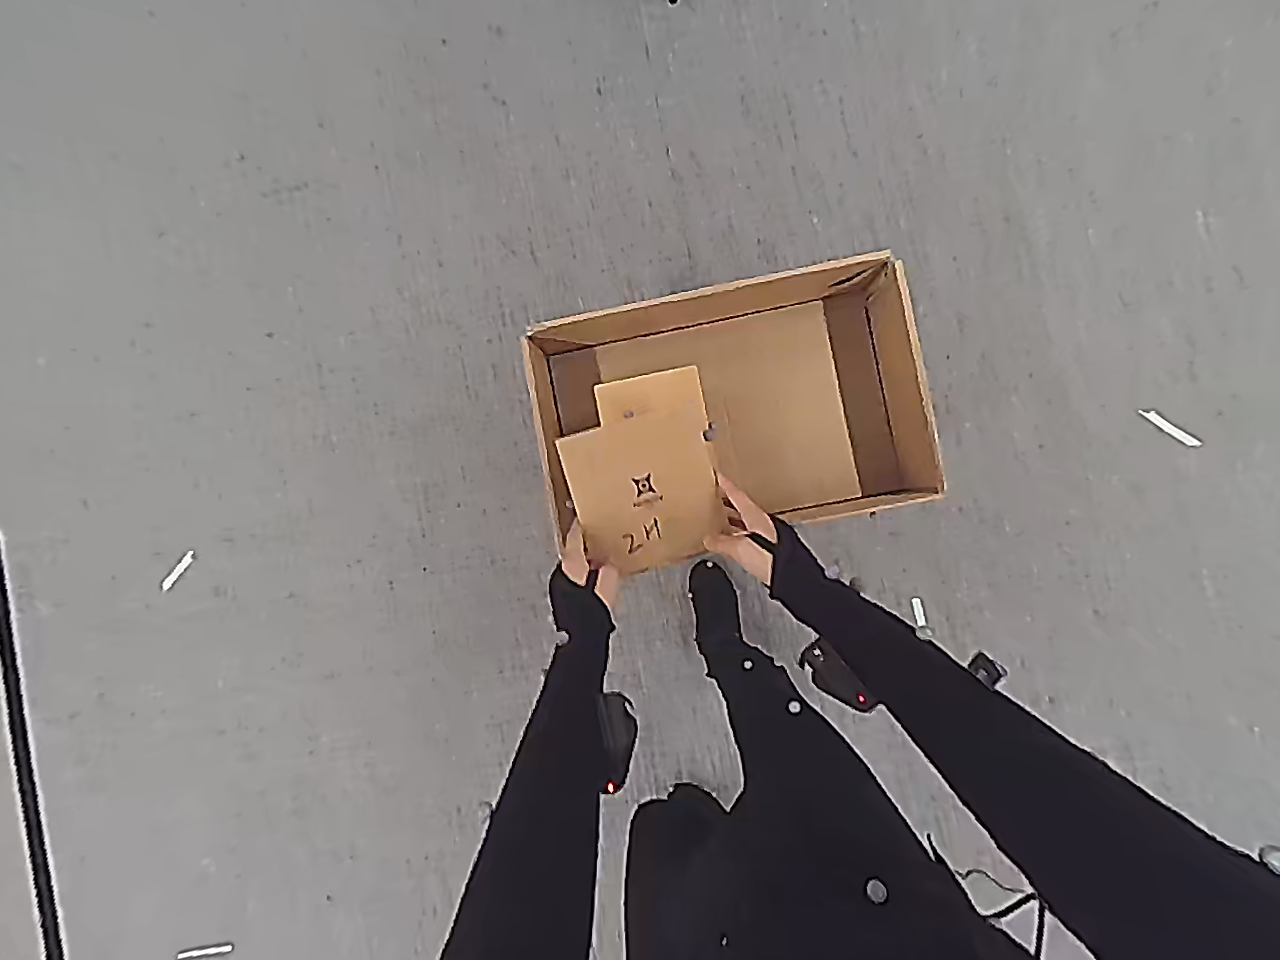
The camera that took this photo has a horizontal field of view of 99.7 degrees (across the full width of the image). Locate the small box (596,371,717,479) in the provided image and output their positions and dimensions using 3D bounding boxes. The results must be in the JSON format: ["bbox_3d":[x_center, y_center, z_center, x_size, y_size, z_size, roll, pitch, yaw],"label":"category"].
[{"bbox_3d":[0.027,-0.068,0.916,0.168,0.176,0.179,-11,88,3],"label":"small box"}]

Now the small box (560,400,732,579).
[{"bbox_3d":[0.007,0.008,0.700,0.168,0.176,0.179,-16,93,2],"label":"small box"}]
